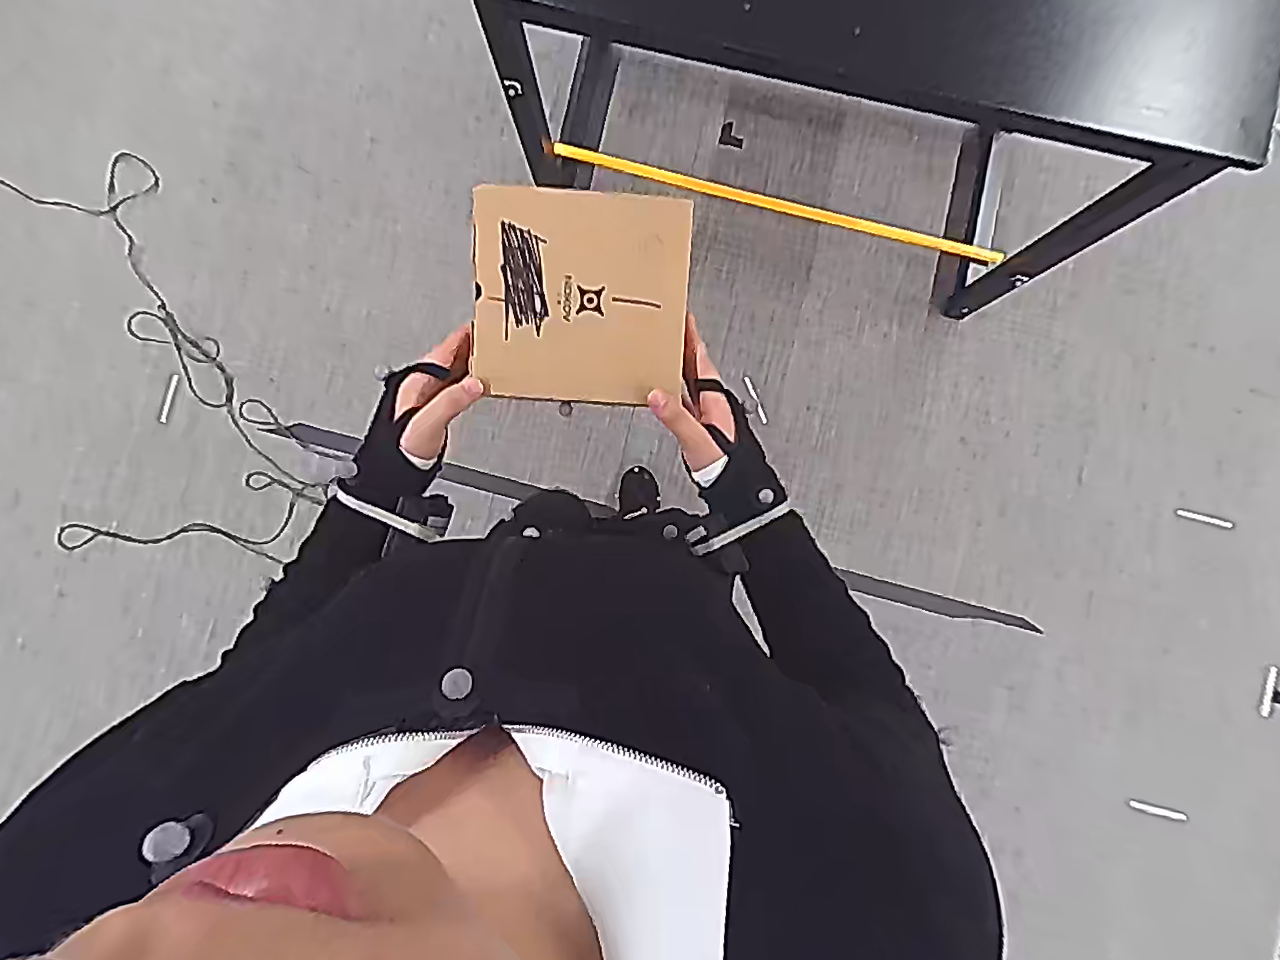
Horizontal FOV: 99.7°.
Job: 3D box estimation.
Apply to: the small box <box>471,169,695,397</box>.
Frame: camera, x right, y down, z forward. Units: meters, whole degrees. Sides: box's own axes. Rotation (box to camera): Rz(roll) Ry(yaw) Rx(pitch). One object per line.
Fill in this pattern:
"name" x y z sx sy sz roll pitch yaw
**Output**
"small box" -0.049 -0.169 0.515 0.179 0.176 0.168 3 97 -2
